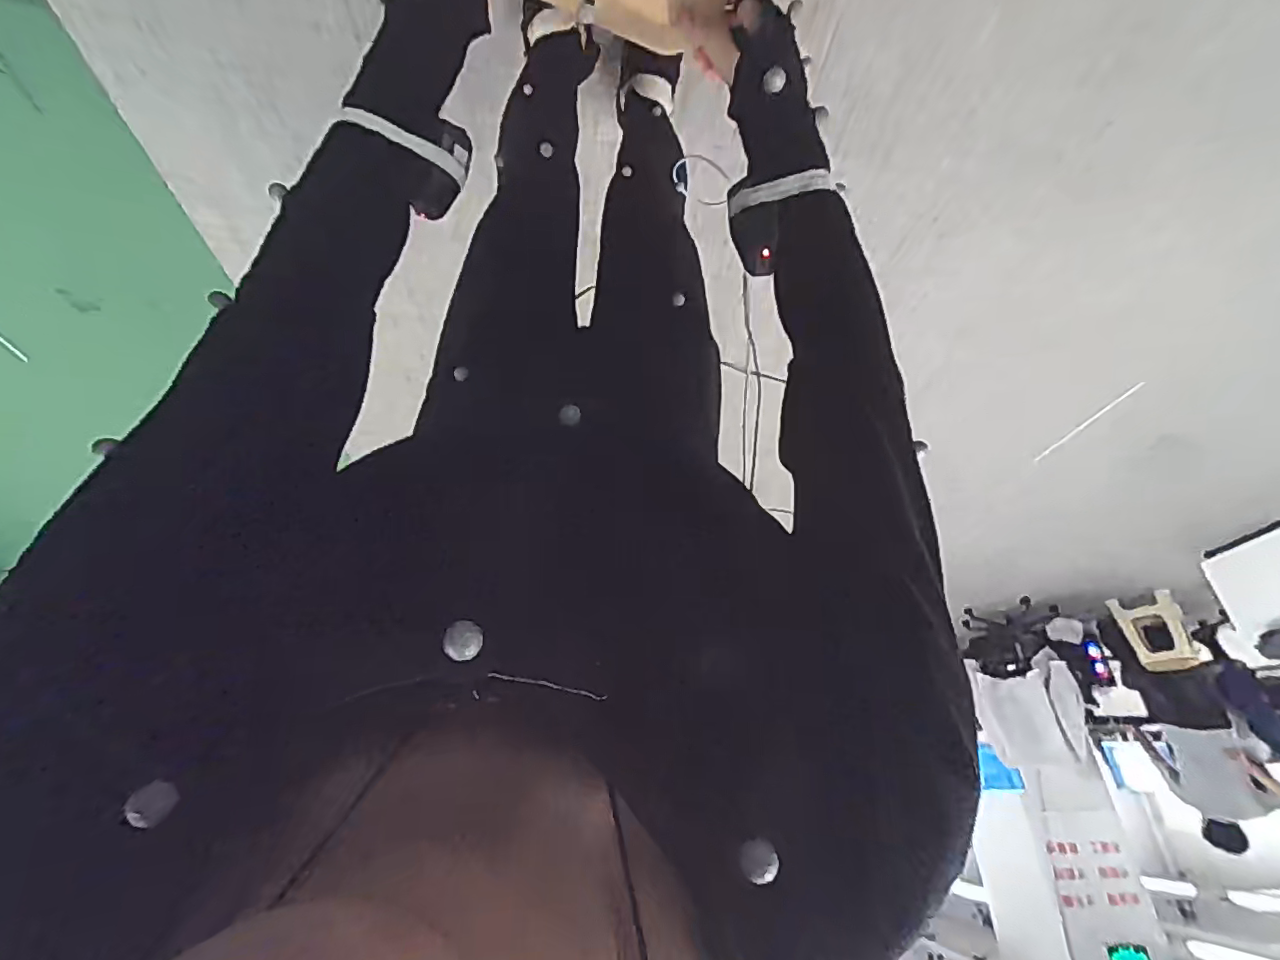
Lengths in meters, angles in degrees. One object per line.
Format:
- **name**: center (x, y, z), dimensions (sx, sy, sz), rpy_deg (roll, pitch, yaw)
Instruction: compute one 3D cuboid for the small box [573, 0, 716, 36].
- **small box**: center (-0.012, -0.502, 0.449), dimensions (0.179, 0.176, 0.168), rpy_deg (10, 124, -19)
